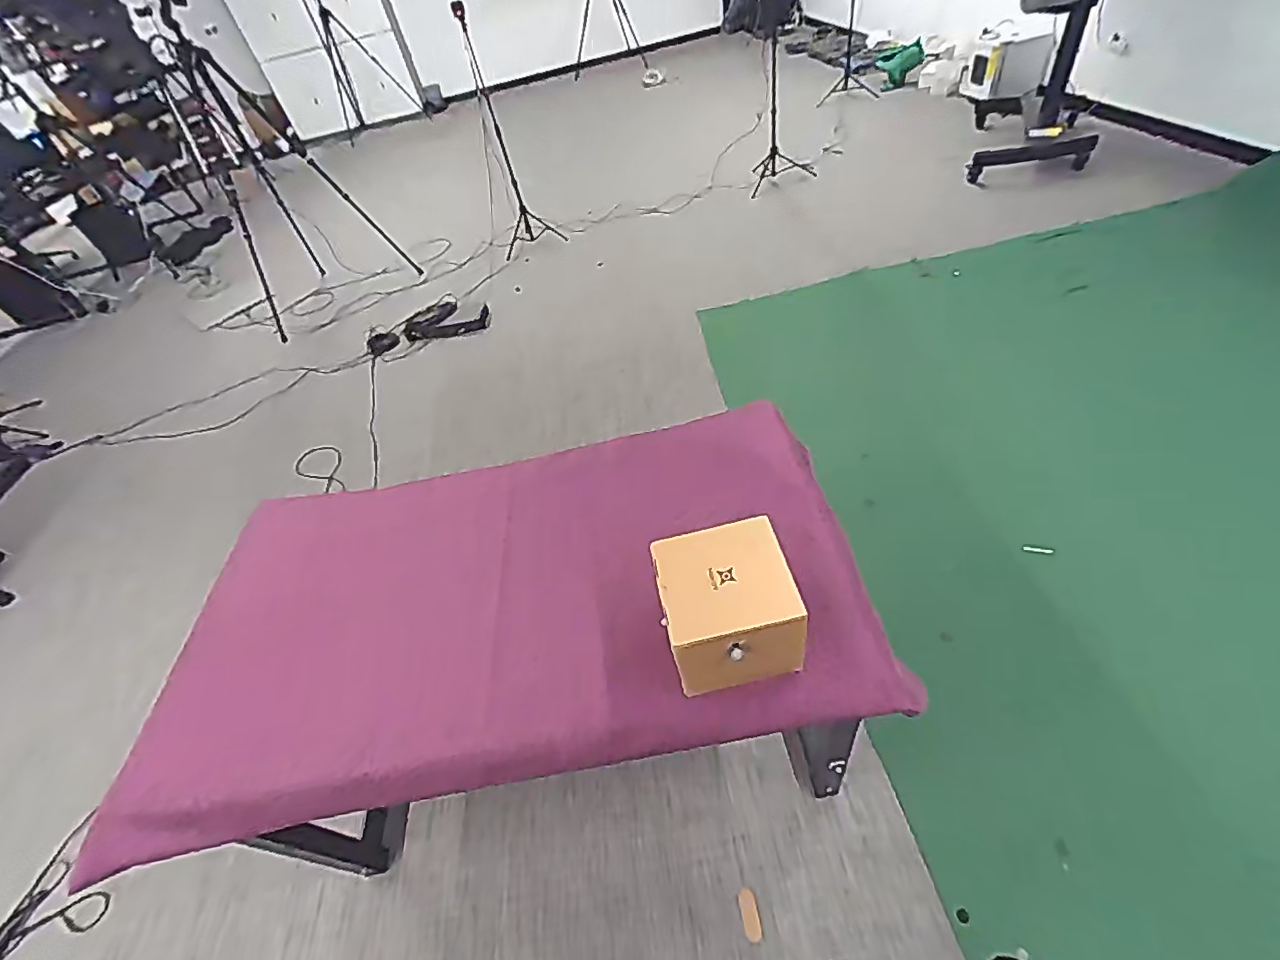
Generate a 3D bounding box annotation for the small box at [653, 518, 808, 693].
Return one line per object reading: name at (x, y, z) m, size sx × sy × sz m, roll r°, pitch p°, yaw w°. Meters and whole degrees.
small box at (0.130, 0.186, 0.785) m, size 0.179 × 0.176 × 0.168 m, roll -16°, pitch 47°, yaw 3°
